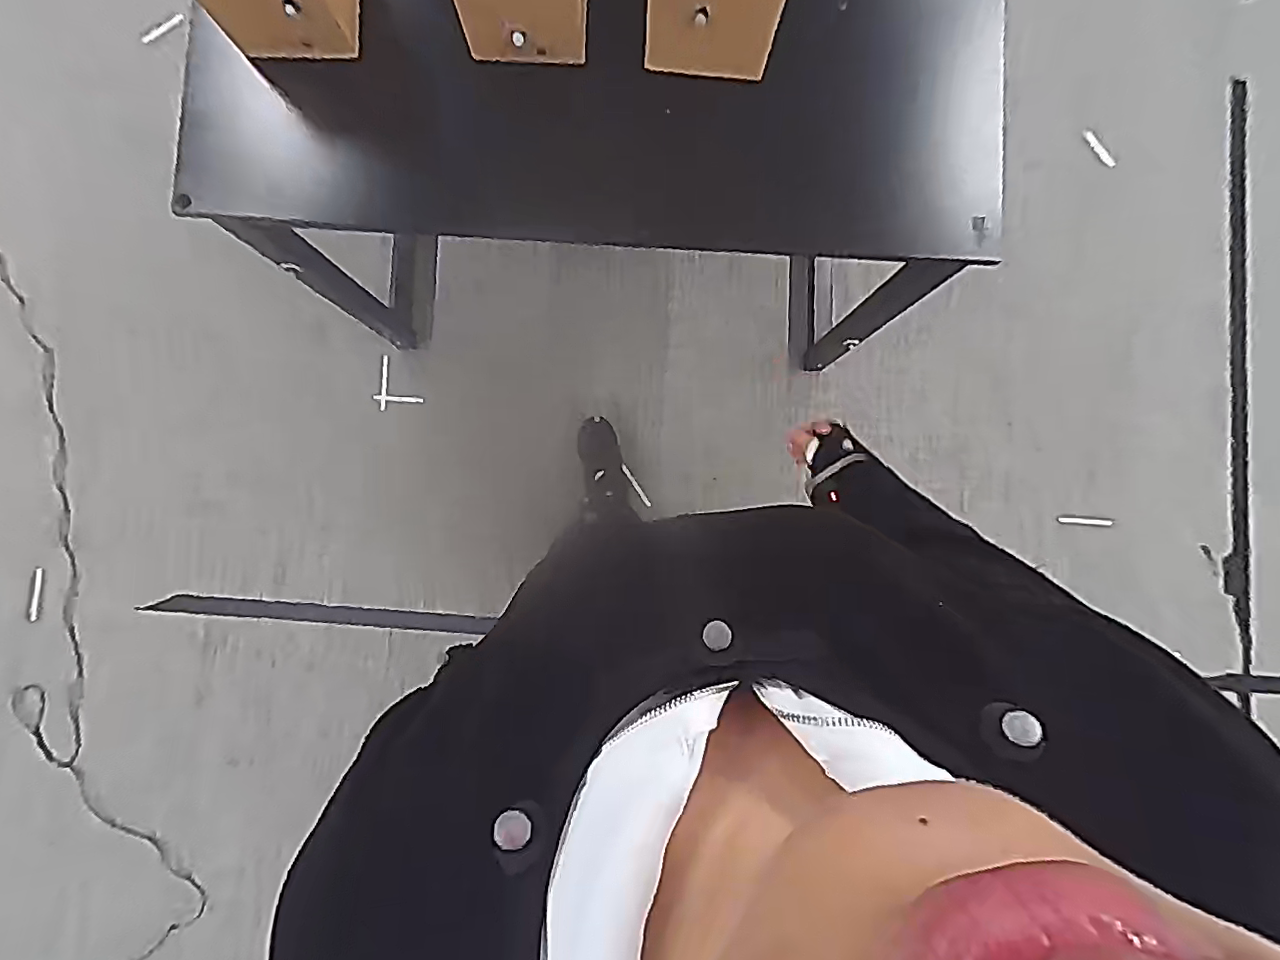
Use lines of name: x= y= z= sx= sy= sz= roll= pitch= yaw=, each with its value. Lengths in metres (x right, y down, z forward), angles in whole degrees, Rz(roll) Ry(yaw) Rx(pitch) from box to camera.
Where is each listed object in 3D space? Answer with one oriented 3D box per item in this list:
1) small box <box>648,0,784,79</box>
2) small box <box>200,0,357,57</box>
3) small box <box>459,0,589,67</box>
small box: x=0.103 y=-0.678 z=0.721 sx=0.179 sy=0.176 sz=0.168 roll=4 pitch=87 yaw=-1
small box: x=-0.488 y=-0.698 z=0.705 sx=0.168 sy=0.176 sz=0.179 roll=-1 pitch=87 yaw=-3
small box: x=-0.156 y=-0.699 z=0.714 sx=0.168 sy=0.176 sz=0.179 roll=2 pitch=88 yaw=-1
